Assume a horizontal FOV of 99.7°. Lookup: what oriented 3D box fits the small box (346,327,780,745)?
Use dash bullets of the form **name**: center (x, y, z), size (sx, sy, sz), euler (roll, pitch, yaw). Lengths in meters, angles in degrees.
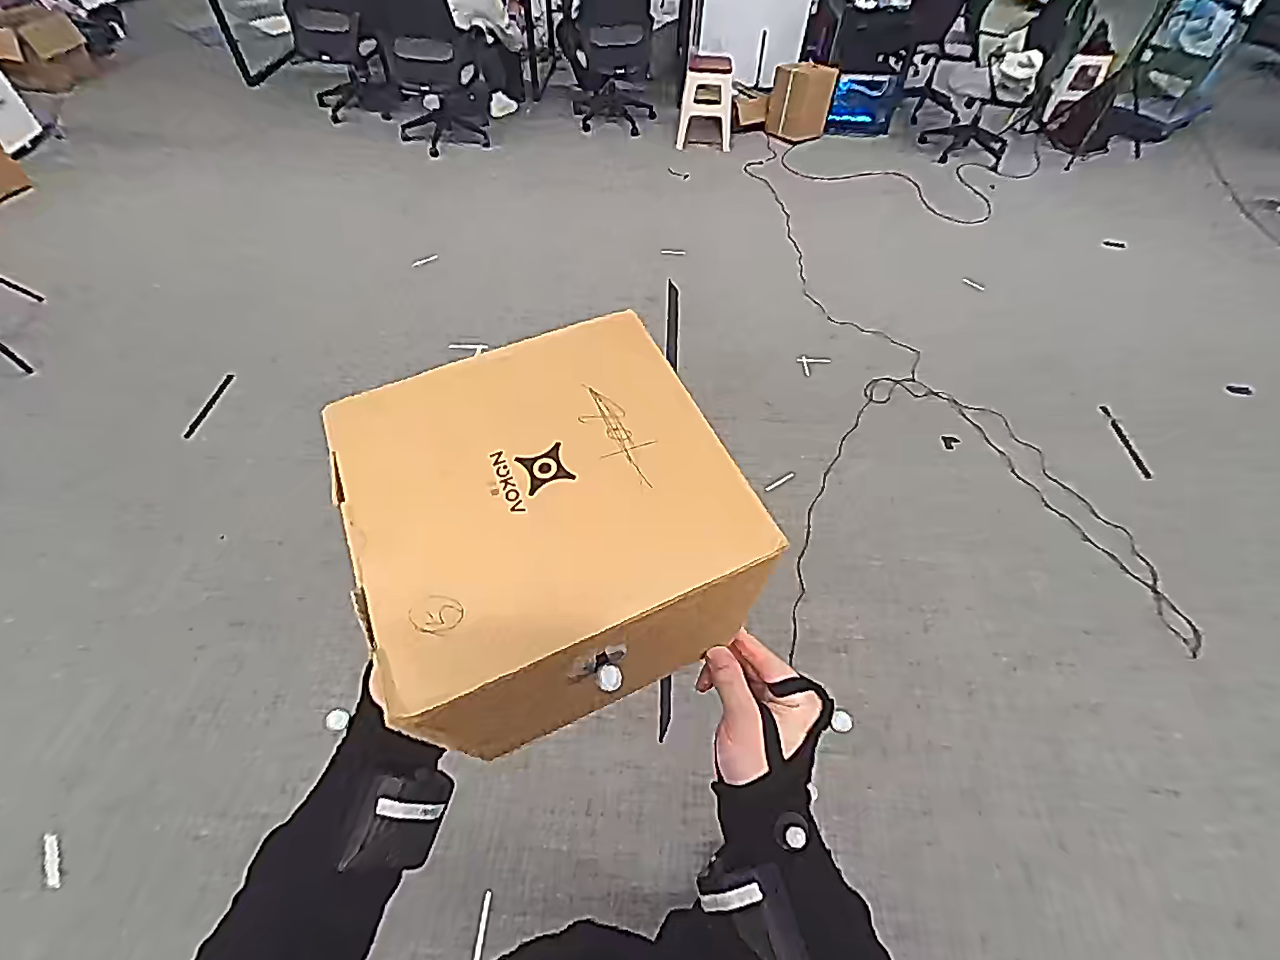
- **small box**: center (-0.045, 0.043, 0.335), size (0.179, 0.176, 0.168), euler (-21, 62, -14)
